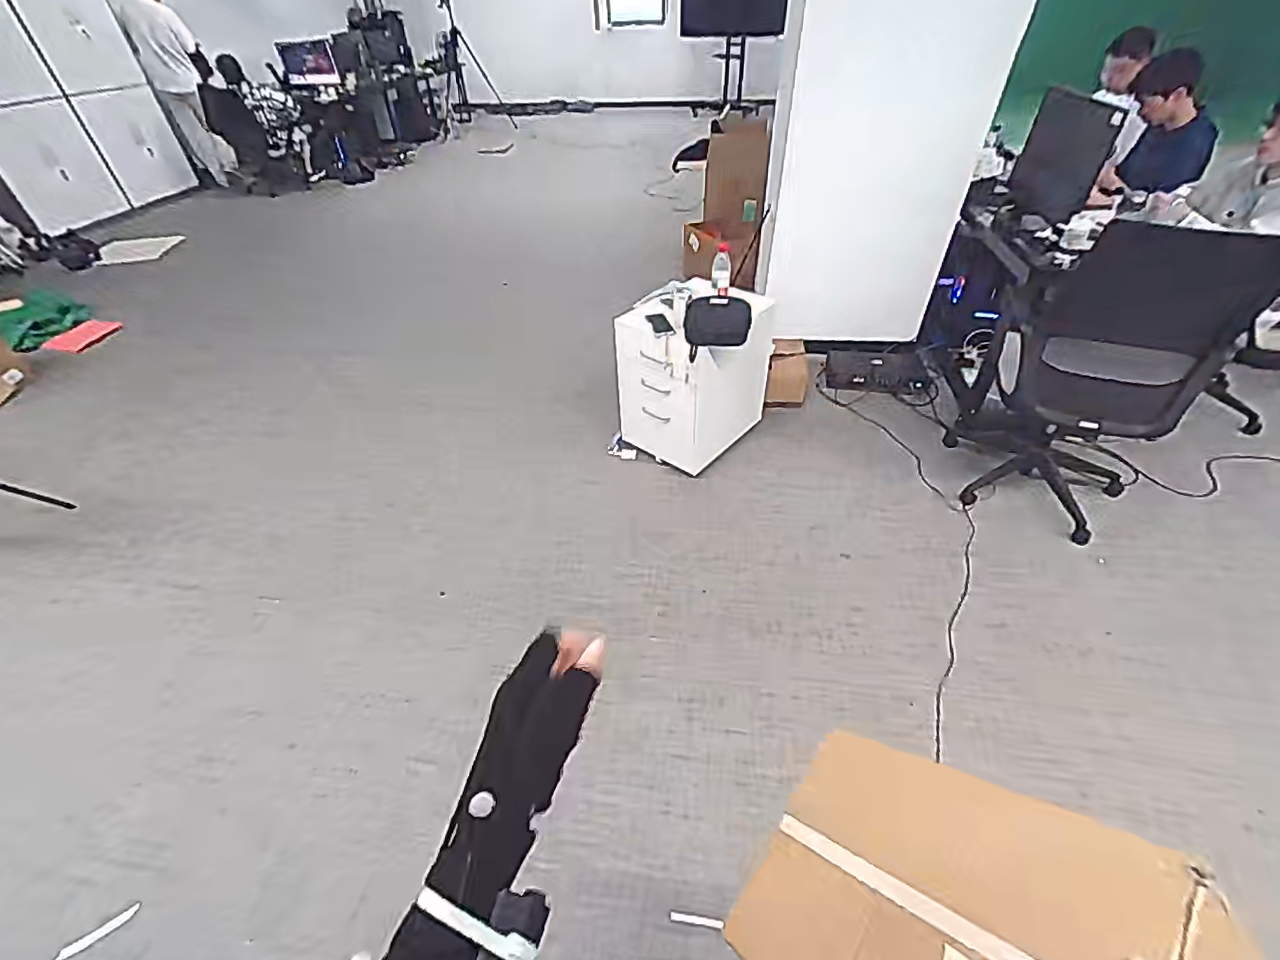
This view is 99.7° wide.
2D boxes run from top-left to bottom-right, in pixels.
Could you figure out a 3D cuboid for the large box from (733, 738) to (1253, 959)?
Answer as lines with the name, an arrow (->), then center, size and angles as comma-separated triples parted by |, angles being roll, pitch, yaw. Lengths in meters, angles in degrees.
large box -> 0.397, 0.580, 0.624 | 0.320, 0.320, 0.408 | -46, 16, -25
